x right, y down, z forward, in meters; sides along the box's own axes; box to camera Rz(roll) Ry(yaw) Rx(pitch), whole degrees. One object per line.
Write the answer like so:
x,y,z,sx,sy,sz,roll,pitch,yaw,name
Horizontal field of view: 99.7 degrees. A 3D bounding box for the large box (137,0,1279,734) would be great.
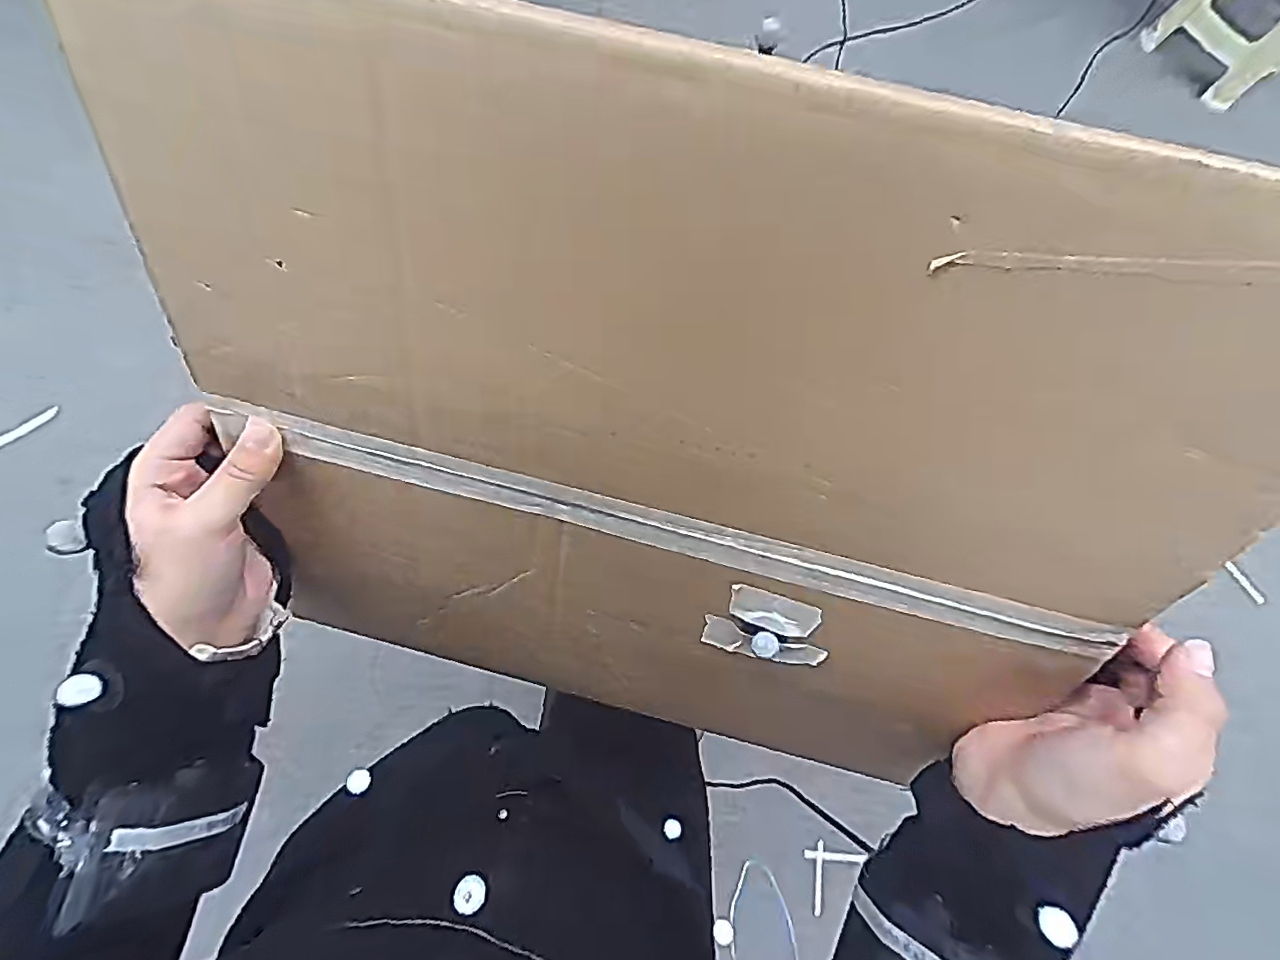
0.046,-0.104,0.342,0.408,0.320,0.320,13,39,3,large box
